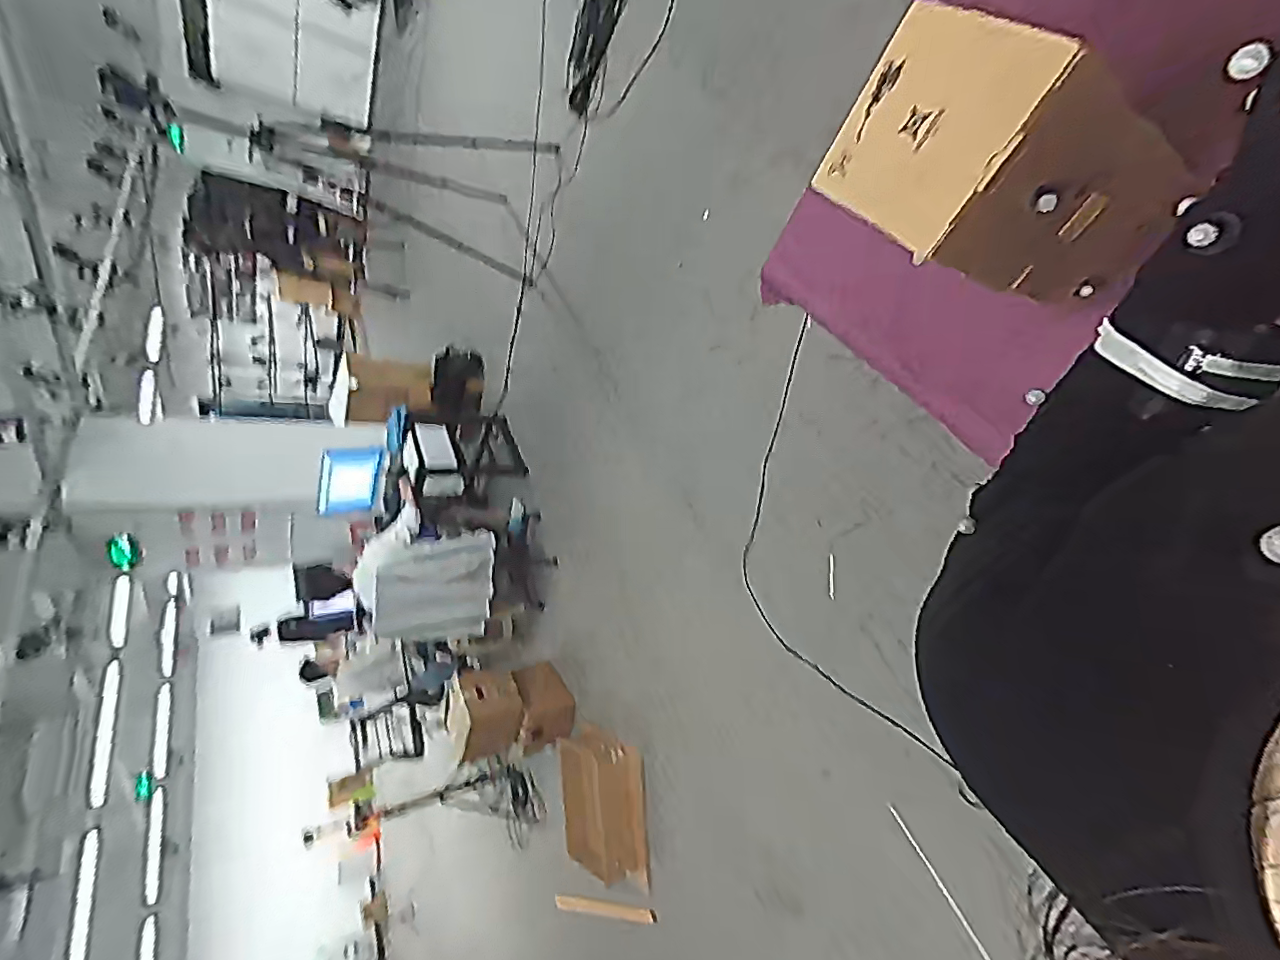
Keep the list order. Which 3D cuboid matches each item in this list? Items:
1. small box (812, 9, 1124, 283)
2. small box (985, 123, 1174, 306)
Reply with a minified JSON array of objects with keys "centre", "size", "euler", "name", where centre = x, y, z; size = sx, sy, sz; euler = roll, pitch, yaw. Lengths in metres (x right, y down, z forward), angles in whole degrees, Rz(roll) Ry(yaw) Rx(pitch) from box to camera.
[{"centre":[0.320,-0.316,0.540],"size":[0.179,0.176,0.168],"euler":[58,134,34],"name":"small box"},{"centre":[0.455,-0.321,0.633],"size":[0.179,0.176,0.168],"euler":[58,135,37],"name":"small box"}]
